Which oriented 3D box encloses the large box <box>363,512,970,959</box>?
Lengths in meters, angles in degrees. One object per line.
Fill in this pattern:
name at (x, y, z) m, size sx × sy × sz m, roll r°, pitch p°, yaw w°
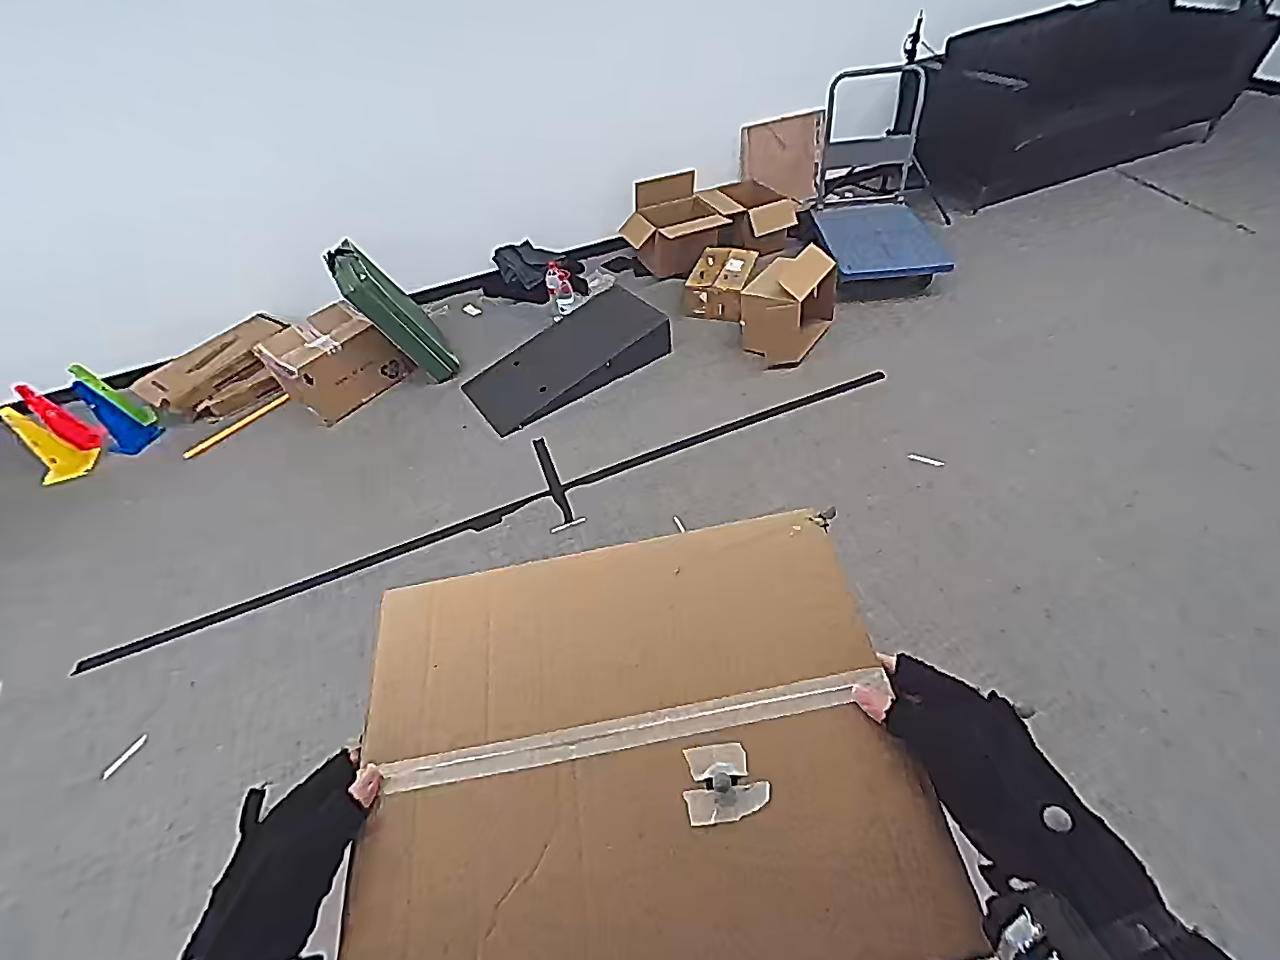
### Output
large box at (0.008, 0.275, 0.544) m, size 0.408 × 0.320 × 0.320 m, roll -11°, pitch 56°, yaw 1°
